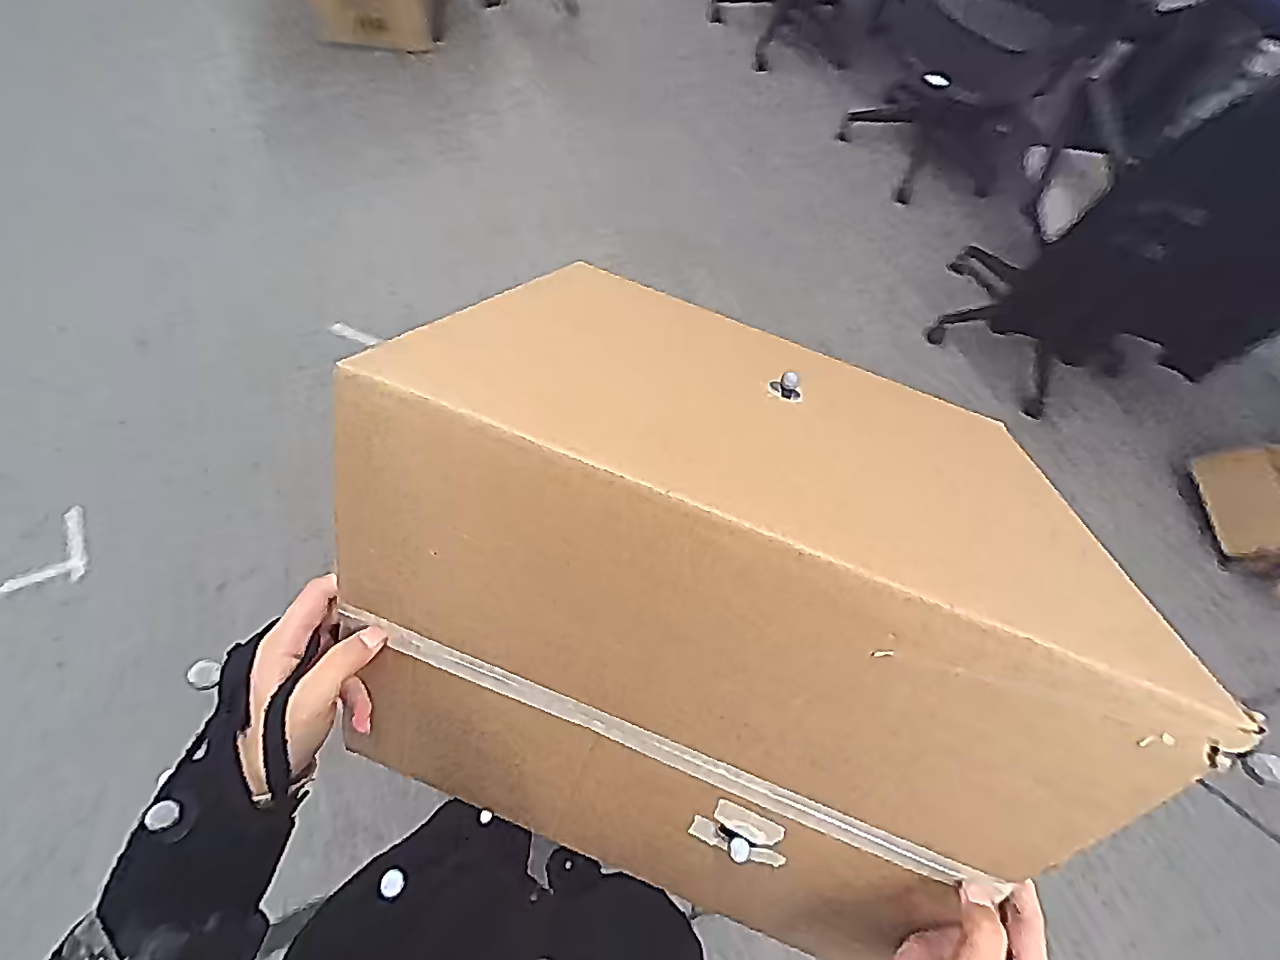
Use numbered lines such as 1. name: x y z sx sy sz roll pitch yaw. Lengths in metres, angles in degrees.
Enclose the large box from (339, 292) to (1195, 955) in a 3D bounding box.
1. large box: 0.041 0.079 0.441 0.408 0.320 0.320 20 33 3
